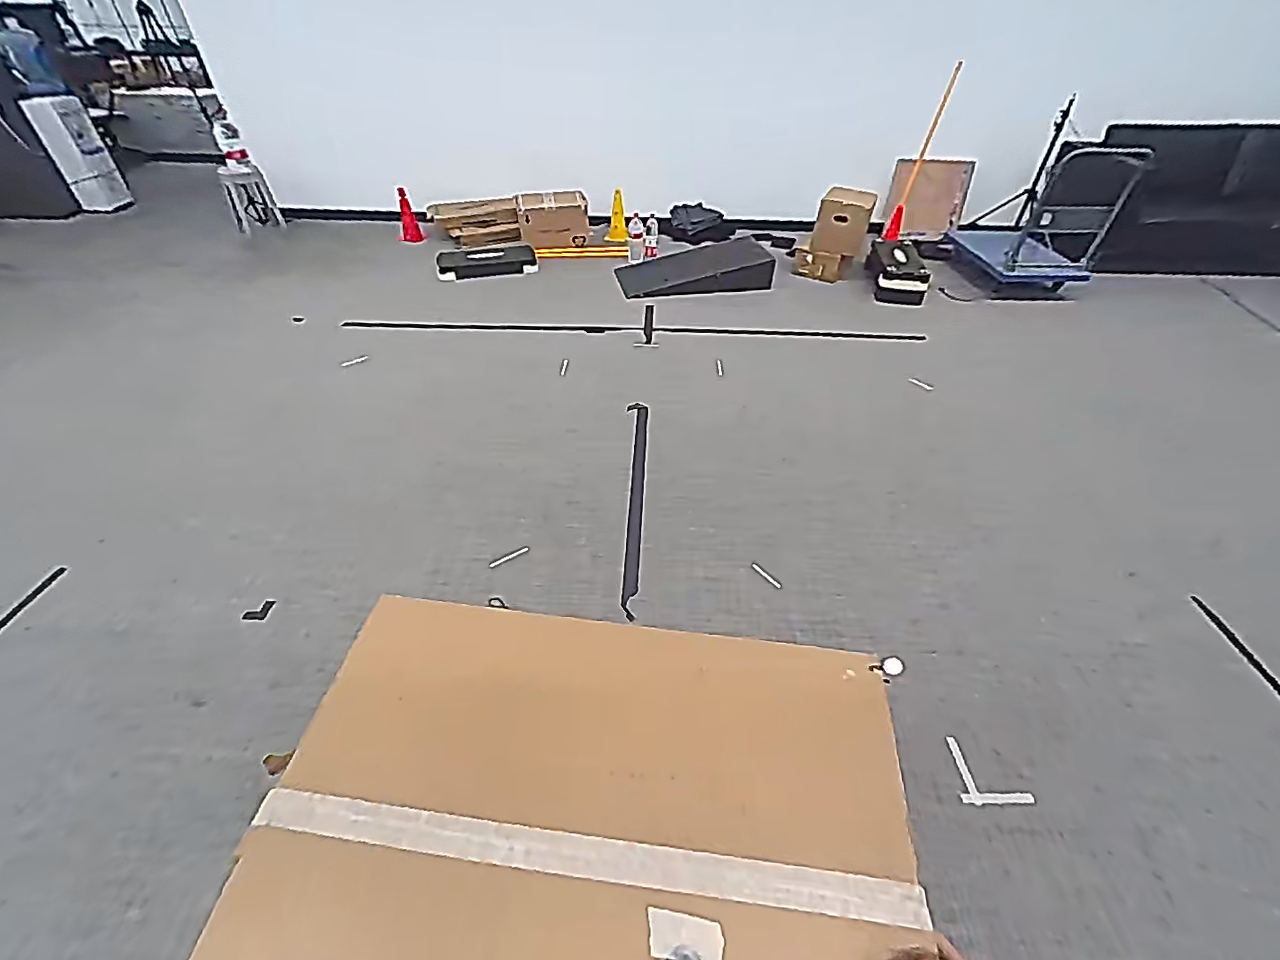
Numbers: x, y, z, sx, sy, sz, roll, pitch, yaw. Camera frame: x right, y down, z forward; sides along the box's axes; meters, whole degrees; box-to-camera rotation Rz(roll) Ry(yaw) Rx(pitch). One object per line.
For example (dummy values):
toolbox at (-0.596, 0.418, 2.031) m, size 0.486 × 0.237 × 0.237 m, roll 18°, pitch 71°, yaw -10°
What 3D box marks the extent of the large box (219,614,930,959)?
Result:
large box at (-0.033, 0.341, 0.441) m, size 0.408 × 0.320 × 0.320 m, roll 6°, pitch 47°, yaw 4°
